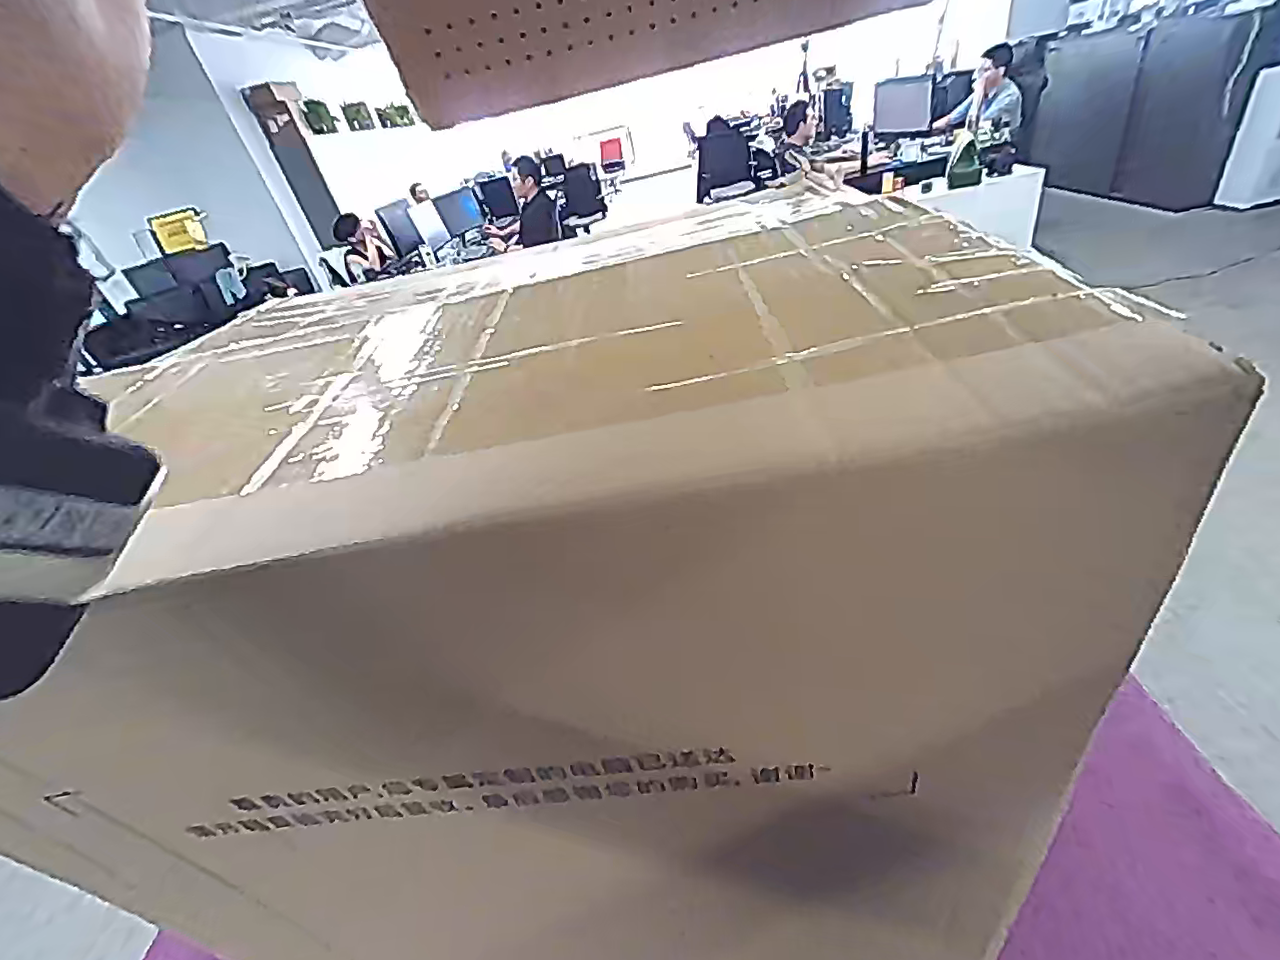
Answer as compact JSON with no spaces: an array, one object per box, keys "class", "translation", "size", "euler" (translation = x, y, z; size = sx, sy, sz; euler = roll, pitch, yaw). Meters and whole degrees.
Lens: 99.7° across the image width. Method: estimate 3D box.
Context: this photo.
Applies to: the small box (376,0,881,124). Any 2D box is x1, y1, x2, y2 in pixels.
[{"class":"small box","translation":[-0.007,-0.231,0.126],"size":[0.179,0.176,0.168],"euler":[-14,75,1]}]
